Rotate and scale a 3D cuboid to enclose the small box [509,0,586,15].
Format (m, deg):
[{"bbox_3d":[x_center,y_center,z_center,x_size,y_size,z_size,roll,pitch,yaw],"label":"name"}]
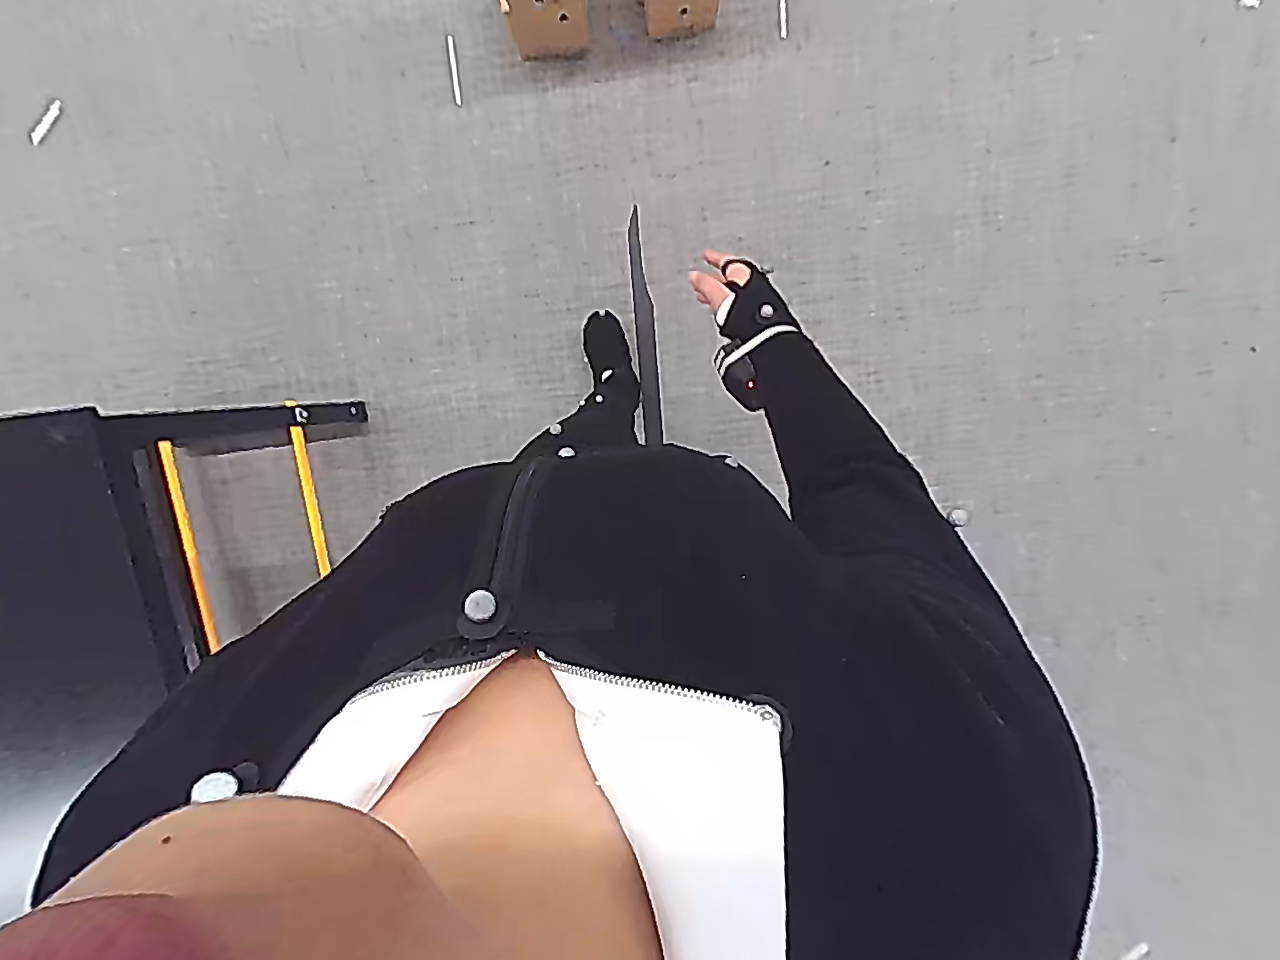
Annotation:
[{"bbox_3d":[-0.202,-1.060,1.048,0.168,0.176,0.179,-4,101,4],"label":"small box"}]

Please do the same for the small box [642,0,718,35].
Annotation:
[{"bbox_3d":[0.083,-1.128,1.192,0.168,0.176,0.179,-8,100,4],"label":"small box"}]

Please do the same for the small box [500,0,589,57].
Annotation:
[{"bbox_3d":[-0.212,-1.090,1.208,0.179,0.176,0.168,-4,99,4],"label":"small box"}]
